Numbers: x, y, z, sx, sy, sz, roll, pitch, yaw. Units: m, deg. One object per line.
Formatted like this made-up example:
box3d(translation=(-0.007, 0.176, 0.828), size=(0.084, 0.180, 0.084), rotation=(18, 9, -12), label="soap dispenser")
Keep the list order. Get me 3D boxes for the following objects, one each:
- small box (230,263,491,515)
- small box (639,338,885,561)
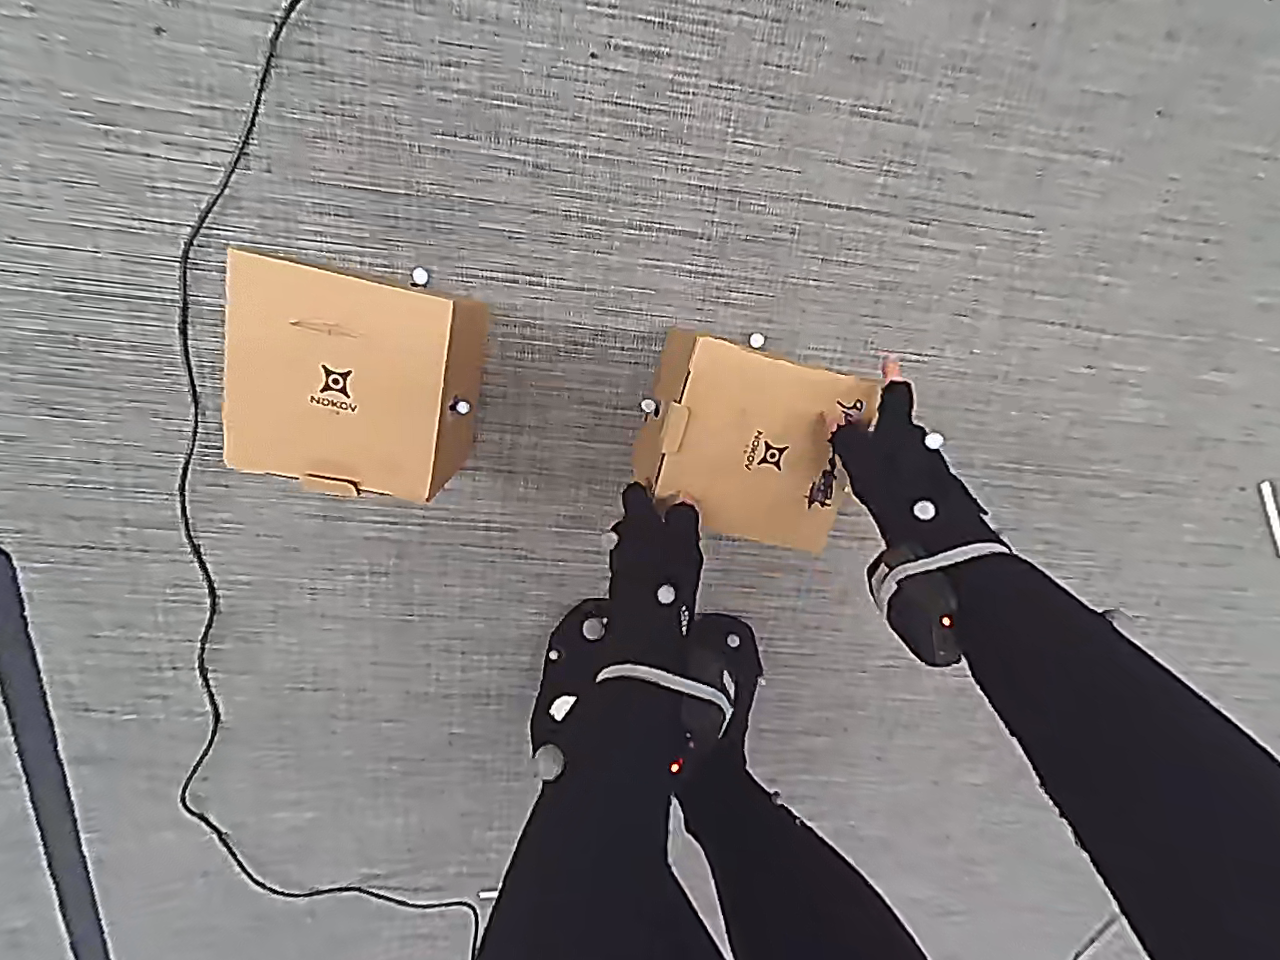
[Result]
box3d(translation=(-0.246, -0.089, 0.511), size=(0.168, 0.176, 0.179), rotation=(11, 106, -9), label="small box")
box3d(translation=(0.103, -0.042, 0.553), size=(0.179, 0.176, 0.168), rotation=(14, 106, -9), label="small box")
